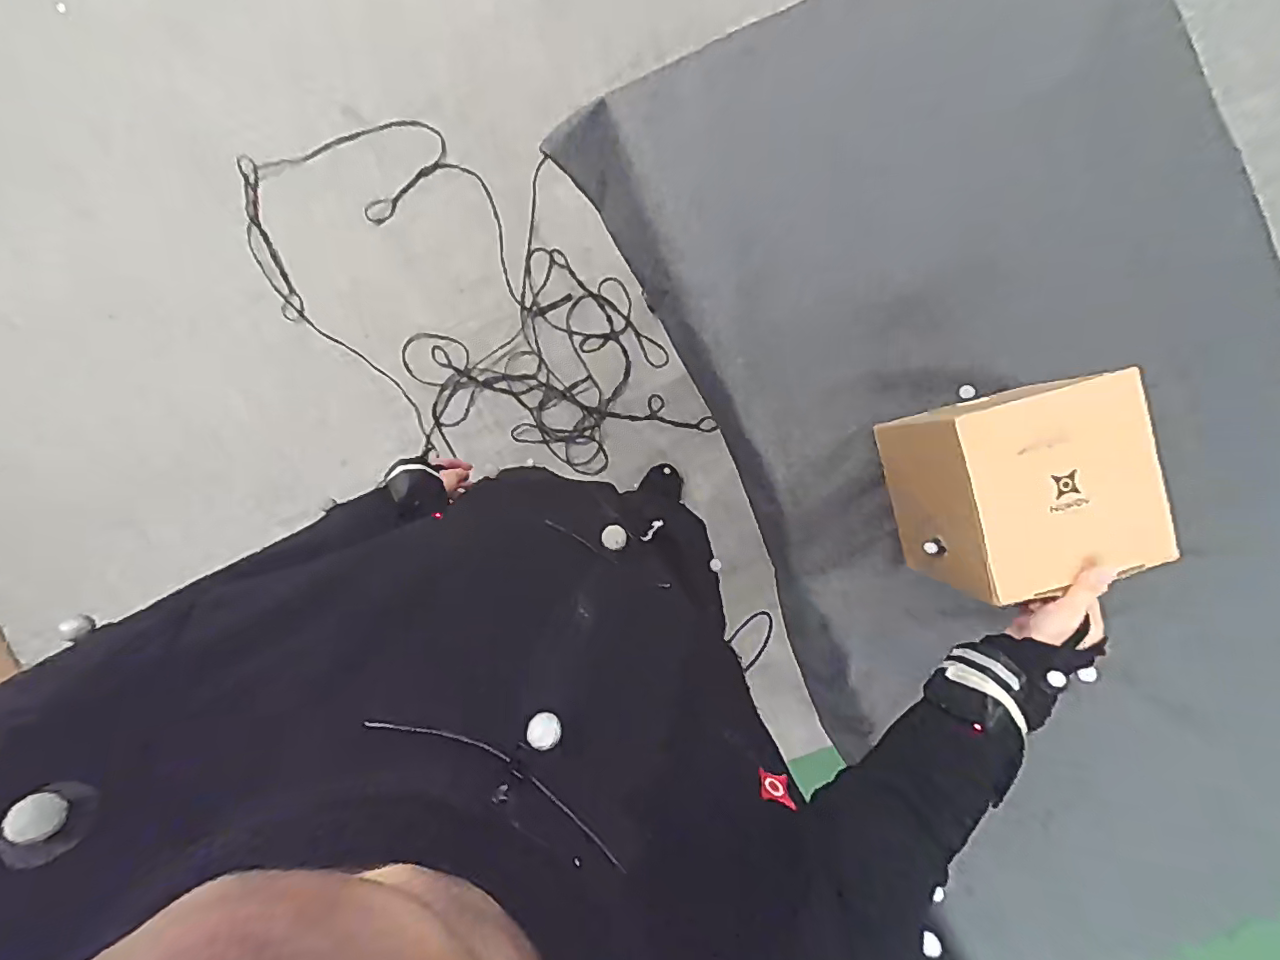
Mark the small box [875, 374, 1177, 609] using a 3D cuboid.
[{"bbox_3d":[0.369,0.007,0.550,0.168,0.176,0.179,-16,92,0],"label":"small box"}]
